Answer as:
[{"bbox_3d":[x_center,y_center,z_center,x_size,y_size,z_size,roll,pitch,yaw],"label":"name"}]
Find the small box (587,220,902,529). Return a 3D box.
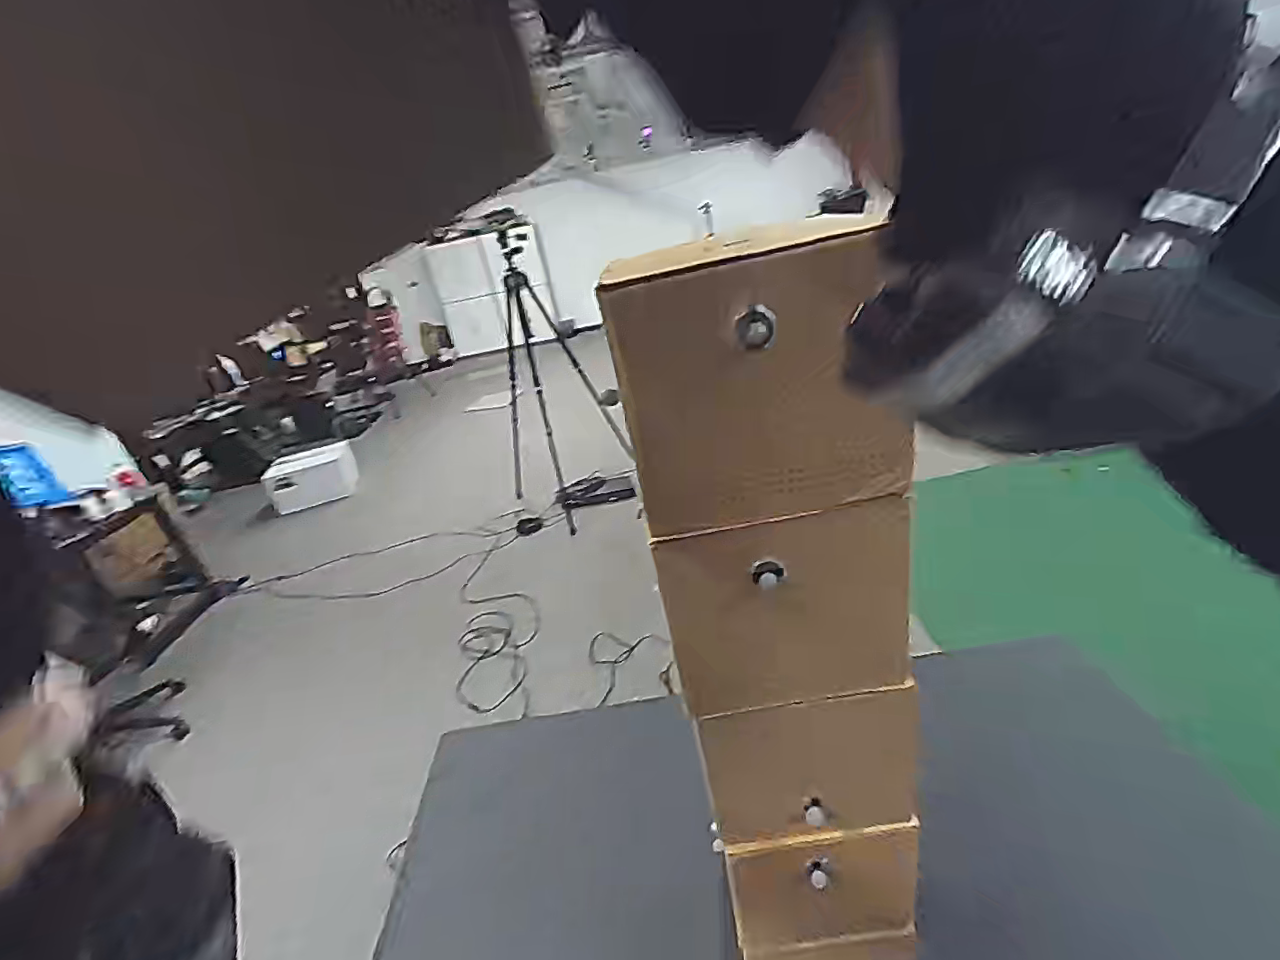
[{"bbox_3d":[0.073,-0.080,0.395,0.179,0.176,0.168,-10,26,5],"label":"small box"}]

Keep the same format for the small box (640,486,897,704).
[{"bbox_3d":[0.100,0.066,0.464,0.179,0.176,0.168,-10,25,3],"label":"small box"}]

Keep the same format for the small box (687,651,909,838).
[{"bbox_3d":[0.137,0.213,0.528,0.179,0.176,0.168,-10,24,4],"label":"small box"}]

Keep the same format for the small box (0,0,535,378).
[{"bbox_3d":[-0.145,-0.163,0.139,0.179,0.176,0.168,-33,67,-6],"label":"small box"}]

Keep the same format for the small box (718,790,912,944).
[{"bbox_3d":[0.170,0.361,0.591,0.179,0.176,0.168,-11,25,2],"label":"small box"}]
